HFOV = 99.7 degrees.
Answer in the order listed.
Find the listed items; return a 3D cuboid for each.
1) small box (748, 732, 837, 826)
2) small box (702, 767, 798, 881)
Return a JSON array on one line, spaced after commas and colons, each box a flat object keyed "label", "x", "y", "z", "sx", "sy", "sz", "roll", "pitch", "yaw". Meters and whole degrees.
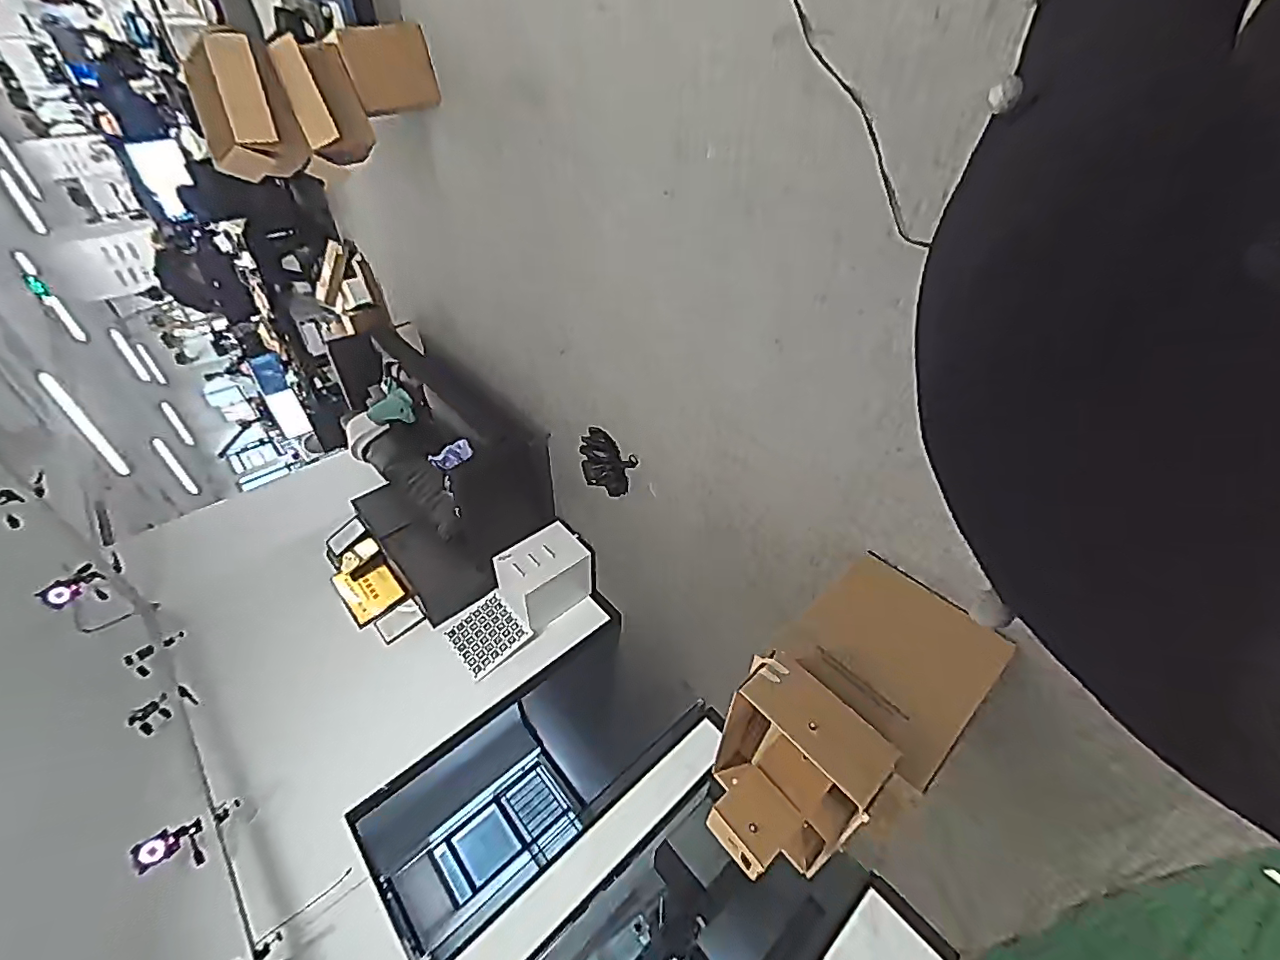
[{"label": "small box", "x": 0.418, "y": 0.847, "z": 1.525, "sx": 0.179, "sy": 0.176, "sz": 0.168, "roll": 39, "pitch": 146, "yaw": 35}, {"label": "small box", "x": 0.293, "y": 0.915, "z": 1.444, "sx": 0.179, "sy": 0.176, "sz": 0.168, "roll": 41, "pitch": 146, "yaw": 32}]
